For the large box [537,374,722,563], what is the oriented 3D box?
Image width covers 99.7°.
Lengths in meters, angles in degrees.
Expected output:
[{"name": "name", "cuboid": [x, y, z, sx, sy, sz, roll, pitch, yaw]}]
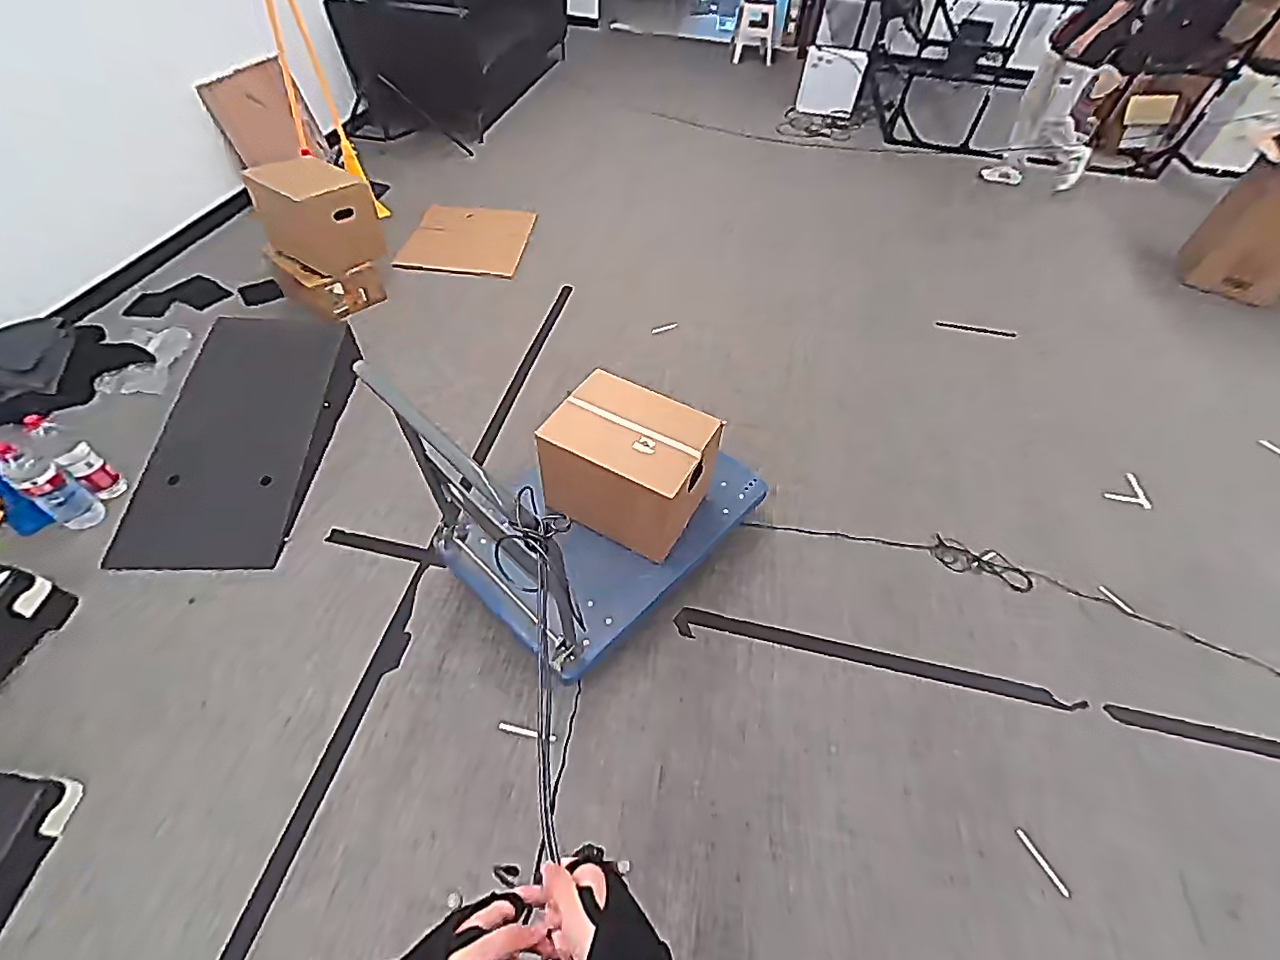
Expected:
[{"name": "large box", "cuboid": [-0.034, -0.035, 1.534, 0.408, 0.320, 0.320, 25, 54, 15]}]
